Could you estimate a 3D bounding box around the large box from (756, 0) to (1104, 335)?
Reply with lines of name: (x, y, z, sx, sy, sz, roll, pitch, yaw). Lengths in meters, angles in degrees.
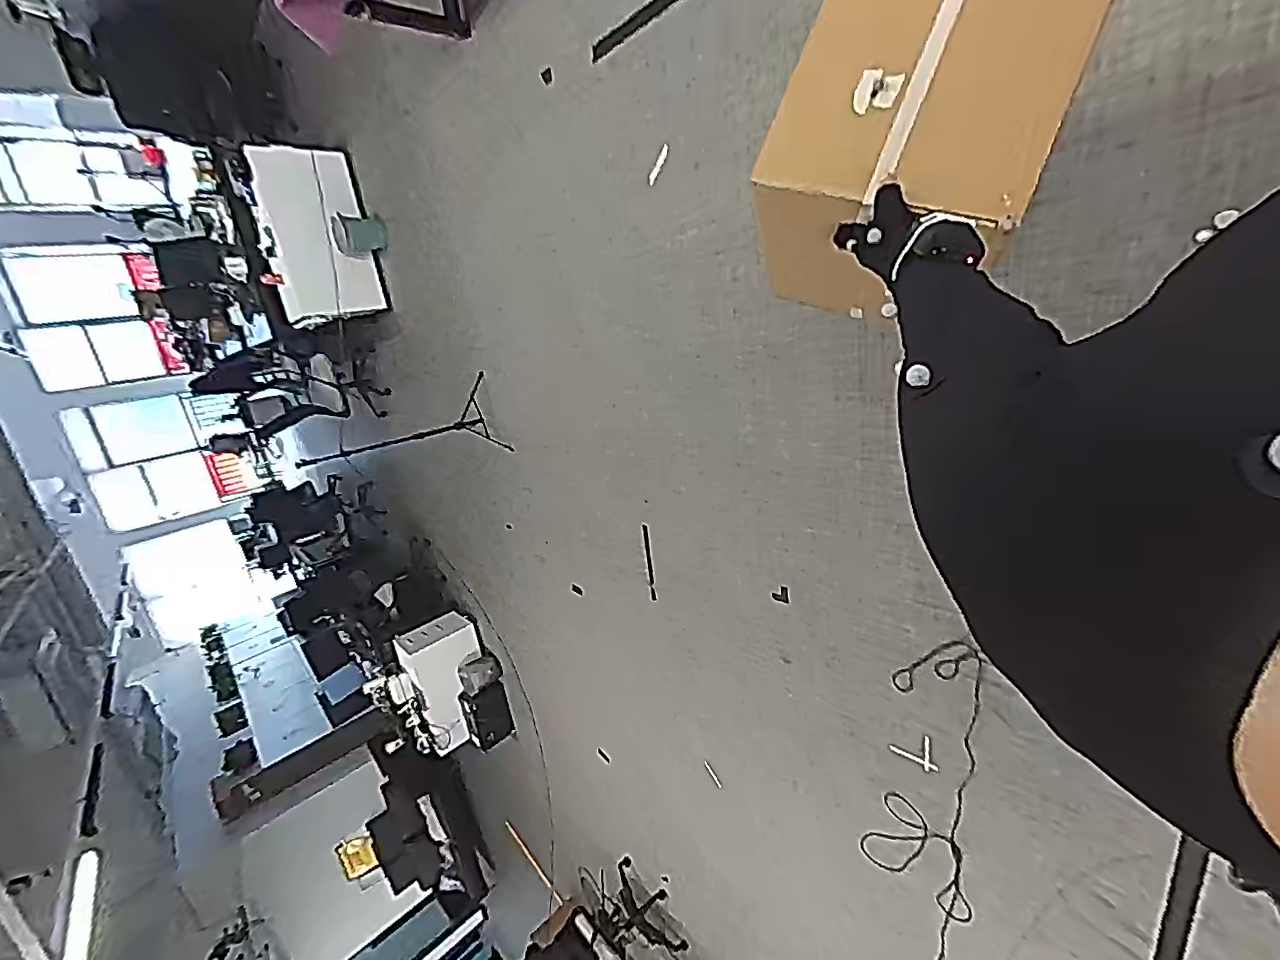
large box: (0.407, -0.492, 0.804, 0.320, 0.320, 0.408, 23, 90, 23)
